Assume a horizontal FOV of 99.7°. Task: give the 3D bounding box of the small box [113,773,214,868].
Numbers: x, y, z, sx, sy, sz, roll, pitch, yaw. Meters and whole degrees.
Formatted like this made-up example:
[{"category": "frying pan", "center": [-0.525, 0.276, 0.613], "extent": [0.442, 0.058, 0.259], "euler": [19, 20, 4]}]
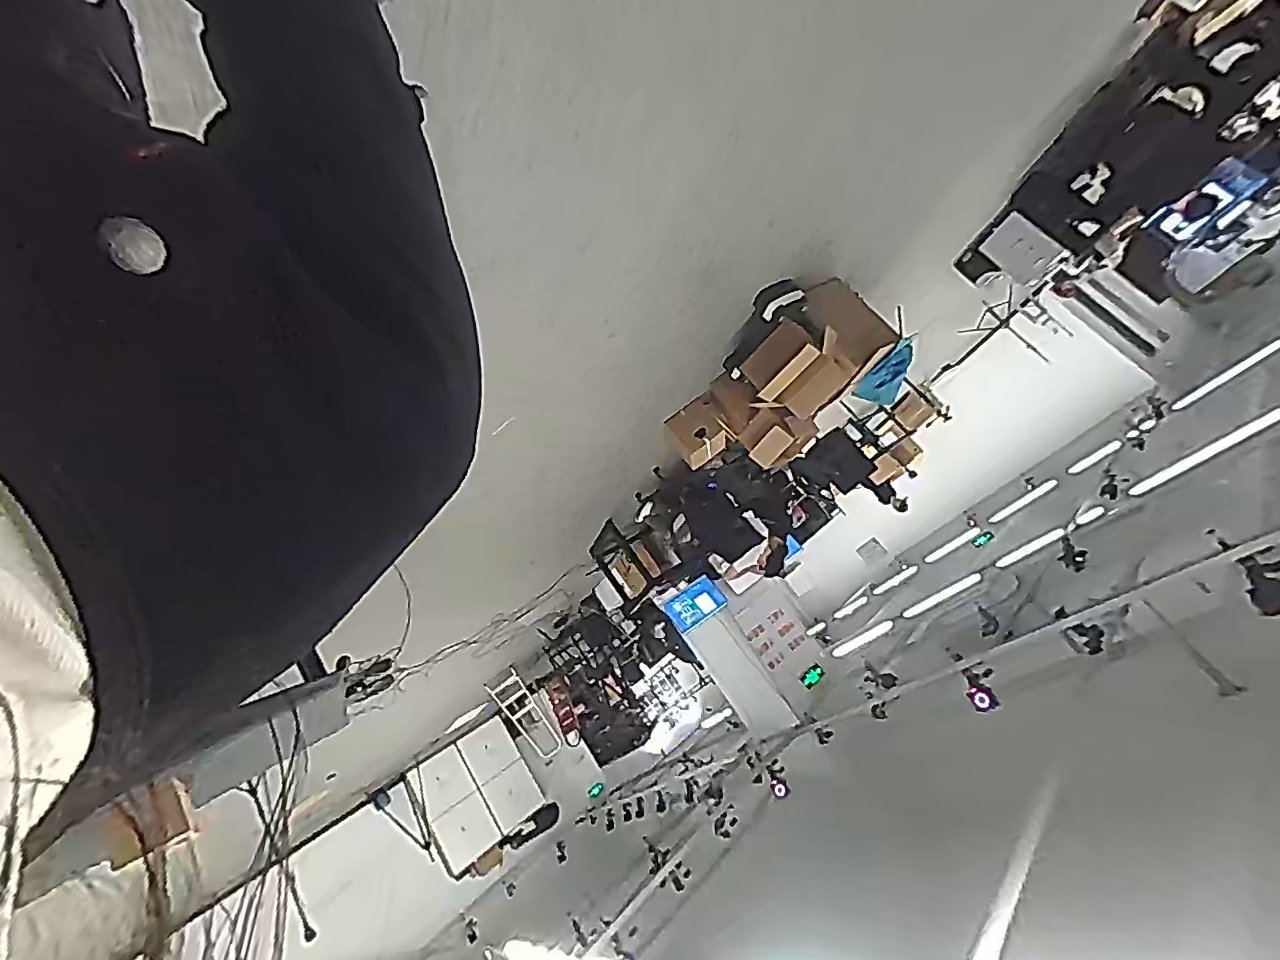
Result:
[{"category": "small box", "center": [-1.430, 1.020, 1.628], "extent": [0.179, 0.176, 0.168], "euler": [-23, 157, -38]}]
